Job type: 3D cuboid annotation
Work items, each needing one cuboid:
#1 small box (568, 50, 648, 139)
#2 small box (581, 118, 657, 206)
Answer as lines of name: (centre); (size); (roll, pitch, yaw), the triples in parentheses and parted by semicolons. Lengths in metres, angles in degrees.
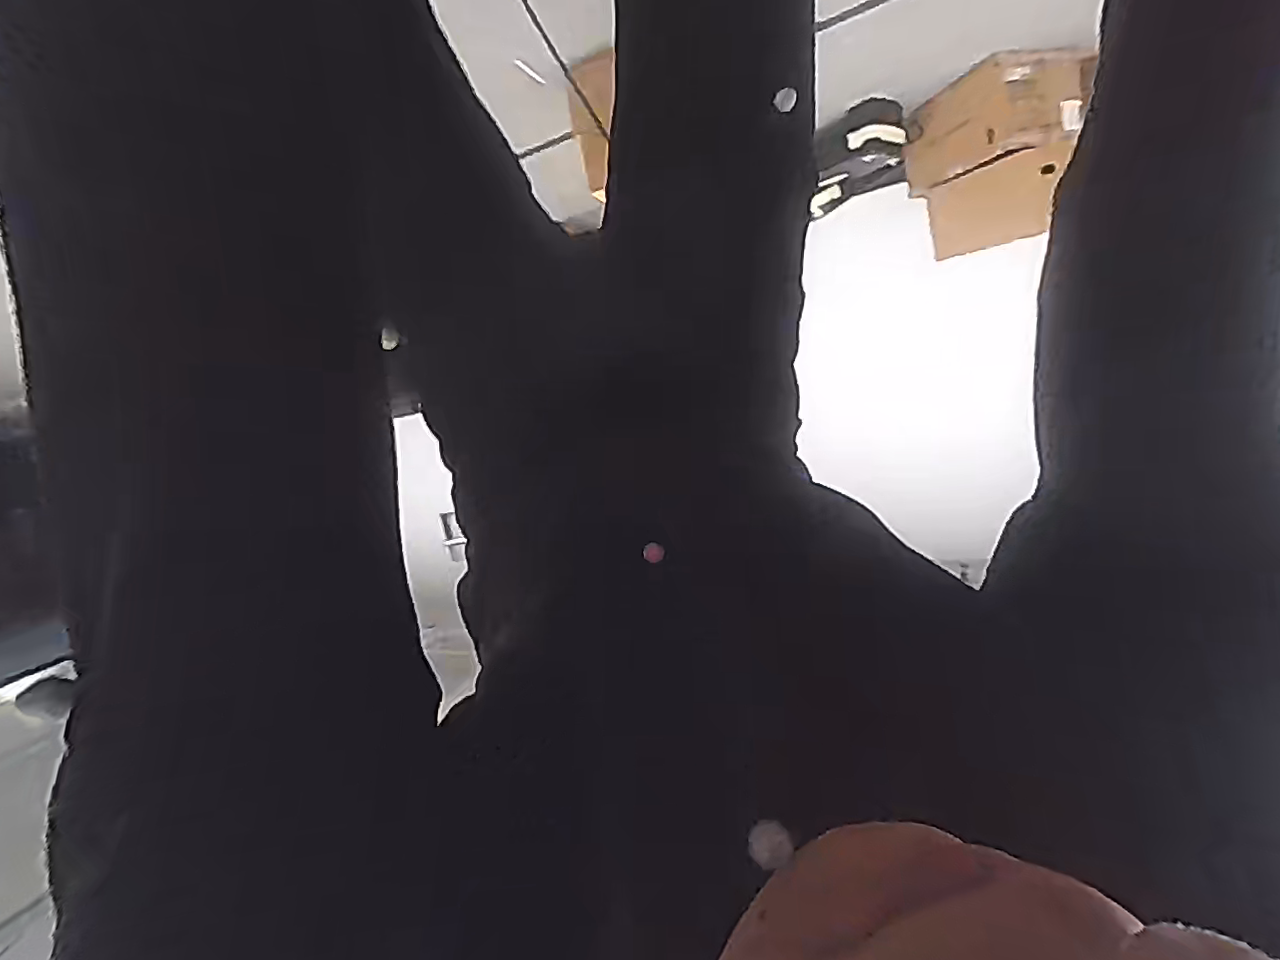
small box: (-0.097, -1.104, 1.585); (0.179, 0.176, 0.168); (-6, -168, 26)
small box: (-0.059, -0.951, 1.625); (0.168, 0.176, 0.179); (-6, -169, 22)
